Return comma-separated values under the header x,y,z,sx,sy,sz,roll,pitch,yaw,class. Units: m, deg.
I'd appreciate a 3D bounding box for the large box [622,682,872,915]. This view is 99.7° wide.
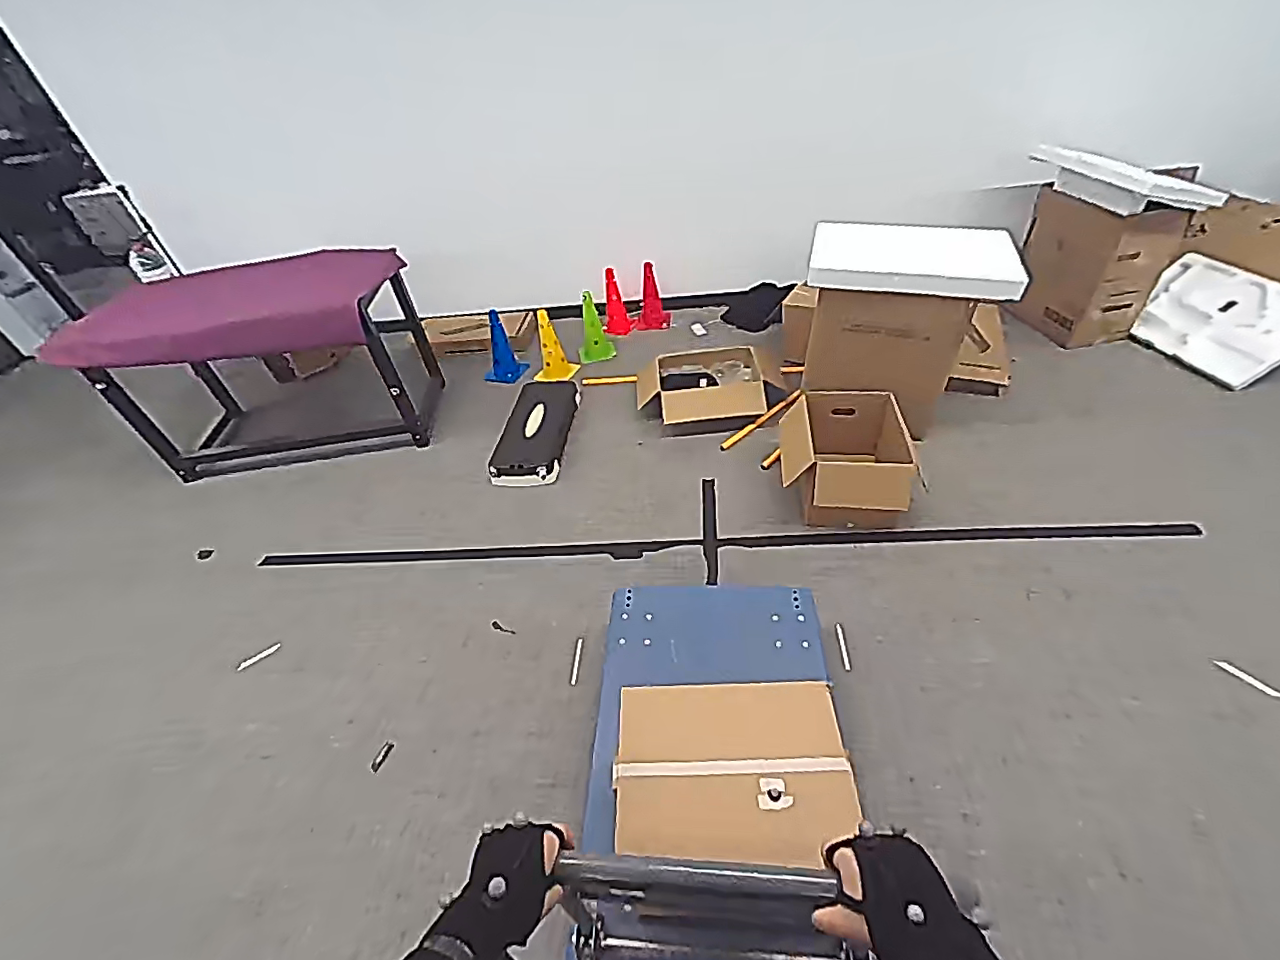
x,y,z,sx,sy,sz,roll,pitch,yaw,class
0.177,0.623,1.061,0.408,0.320,0.320,-3,42,3,large box
